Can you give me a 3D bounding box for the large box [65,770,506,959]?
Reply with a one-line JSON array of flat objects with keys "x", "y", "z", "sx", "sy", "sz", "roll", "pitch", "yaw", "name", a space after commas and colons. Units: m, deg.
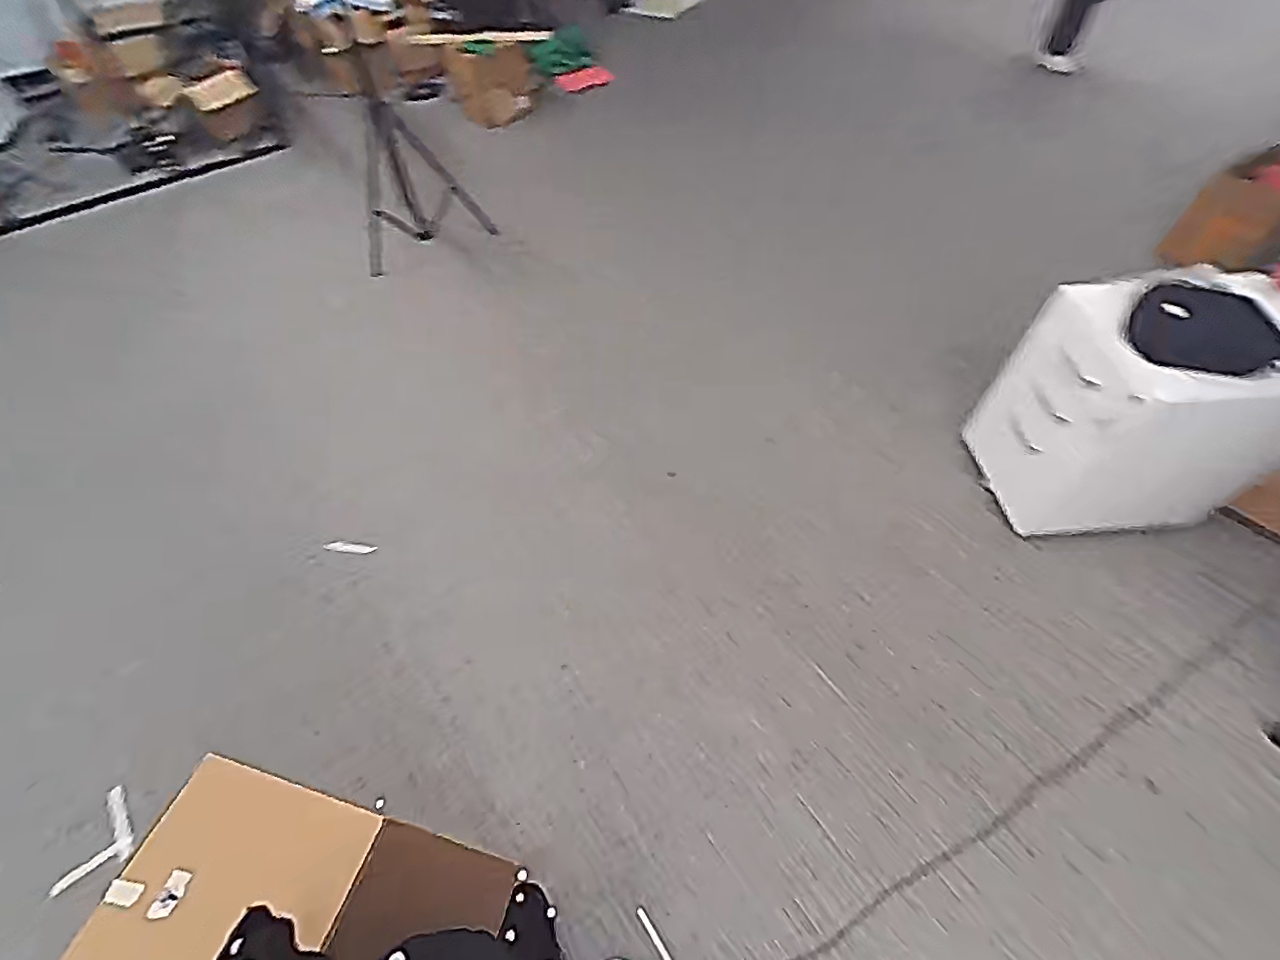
[{"x": -0.448, "y": 0.631, "z": 0.729, "sx": 0.320, "sy": 0.408, "sz": 0.320, "roll": 5, "pitch": 51, "yaw": 20, "name": "large box"}]
